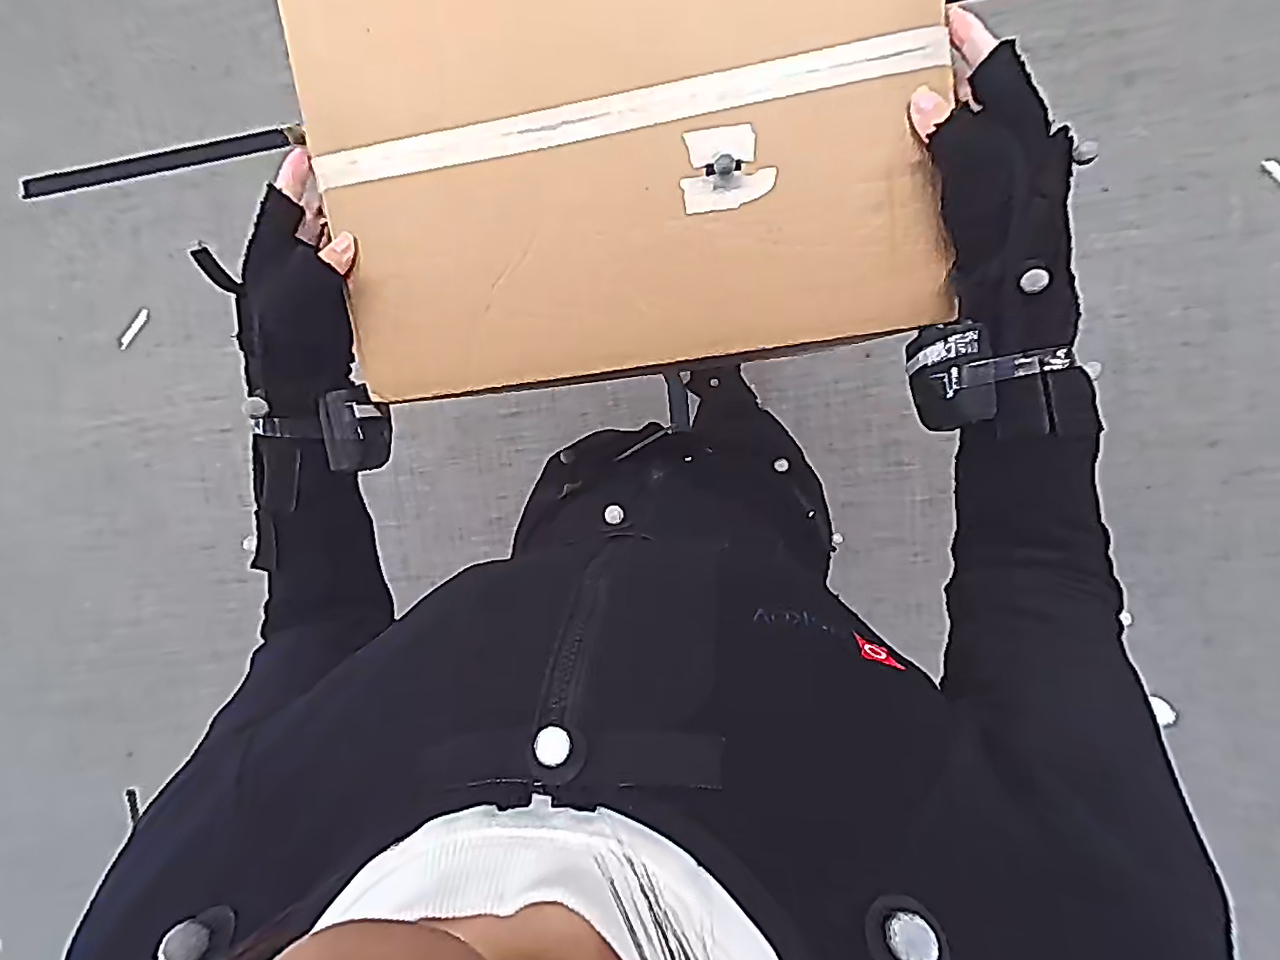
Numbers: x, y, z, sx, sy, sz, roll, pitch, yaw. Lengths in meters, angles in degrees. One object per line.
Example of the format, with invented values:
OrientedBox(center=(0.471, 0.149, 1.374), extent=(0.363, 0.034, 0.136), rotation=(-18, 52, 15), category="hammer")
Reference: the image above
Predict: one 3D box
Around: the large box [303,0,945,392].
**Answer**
OrientedBox(center=(-0.003, -0.268, 0.502), extent=(0.408, 0.320, 0.320), rotation=(-7, 101, 6), category="large box")
